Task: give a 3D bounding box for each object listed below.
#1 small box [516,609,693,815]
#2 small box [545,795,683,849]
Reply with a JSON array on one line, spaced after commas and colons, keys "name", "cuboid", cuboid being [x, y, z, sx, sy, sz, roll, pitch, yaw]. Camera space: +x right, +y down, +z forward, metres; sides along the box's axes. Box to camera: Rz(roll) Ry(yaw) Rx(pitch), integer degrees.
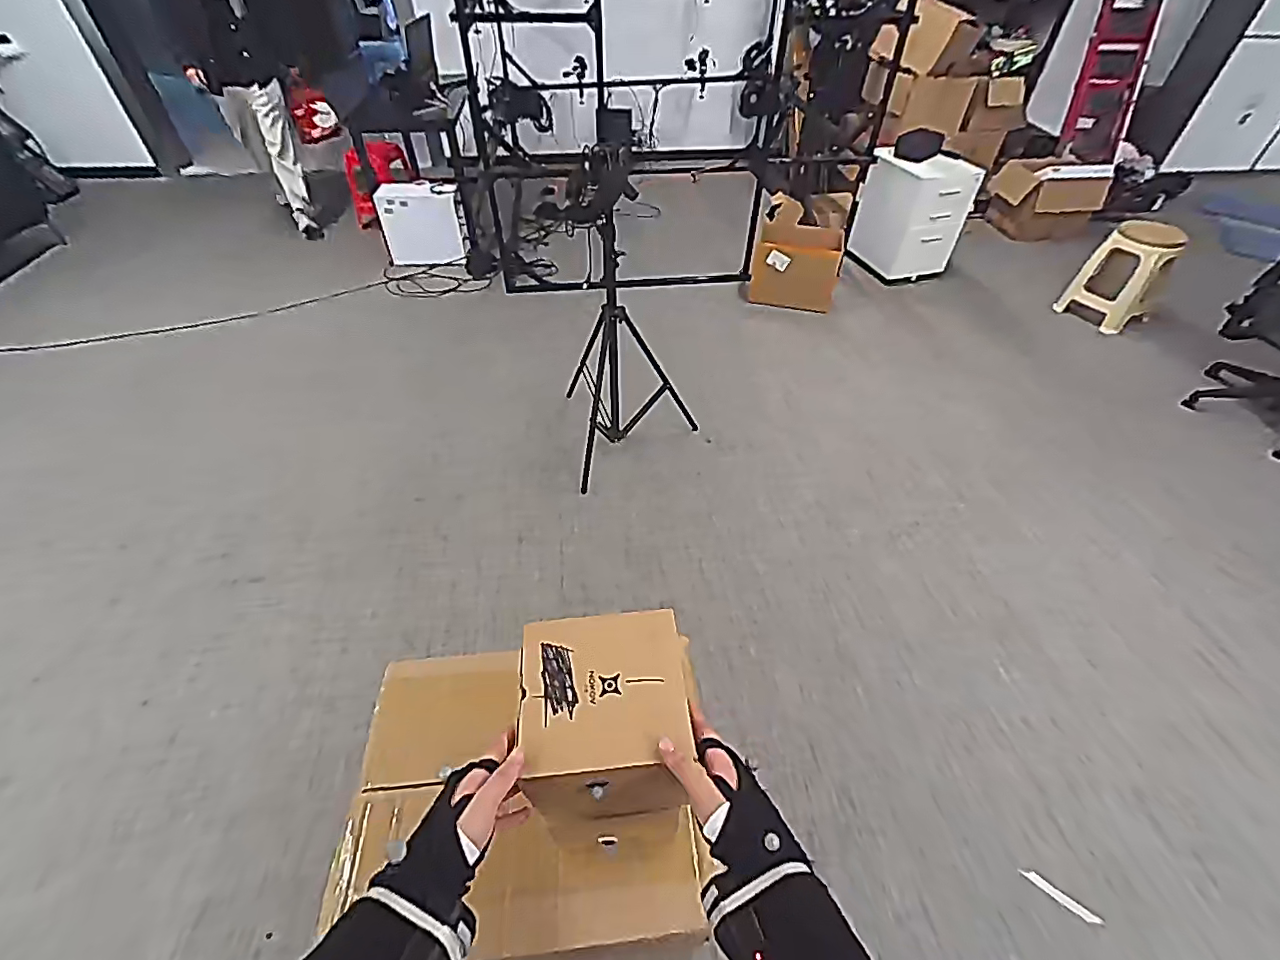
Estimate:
[{"name": "small box", "cuboid": [-0.037, 0.273, 0.631, 0.179, 0.176, 0.168, -5, 46, -3]}, {"name": "small box", "cuboid": [-0.036, 0.386, 0.750, 0.168, 0.176, 0.179, -6, 47, -3]}]
